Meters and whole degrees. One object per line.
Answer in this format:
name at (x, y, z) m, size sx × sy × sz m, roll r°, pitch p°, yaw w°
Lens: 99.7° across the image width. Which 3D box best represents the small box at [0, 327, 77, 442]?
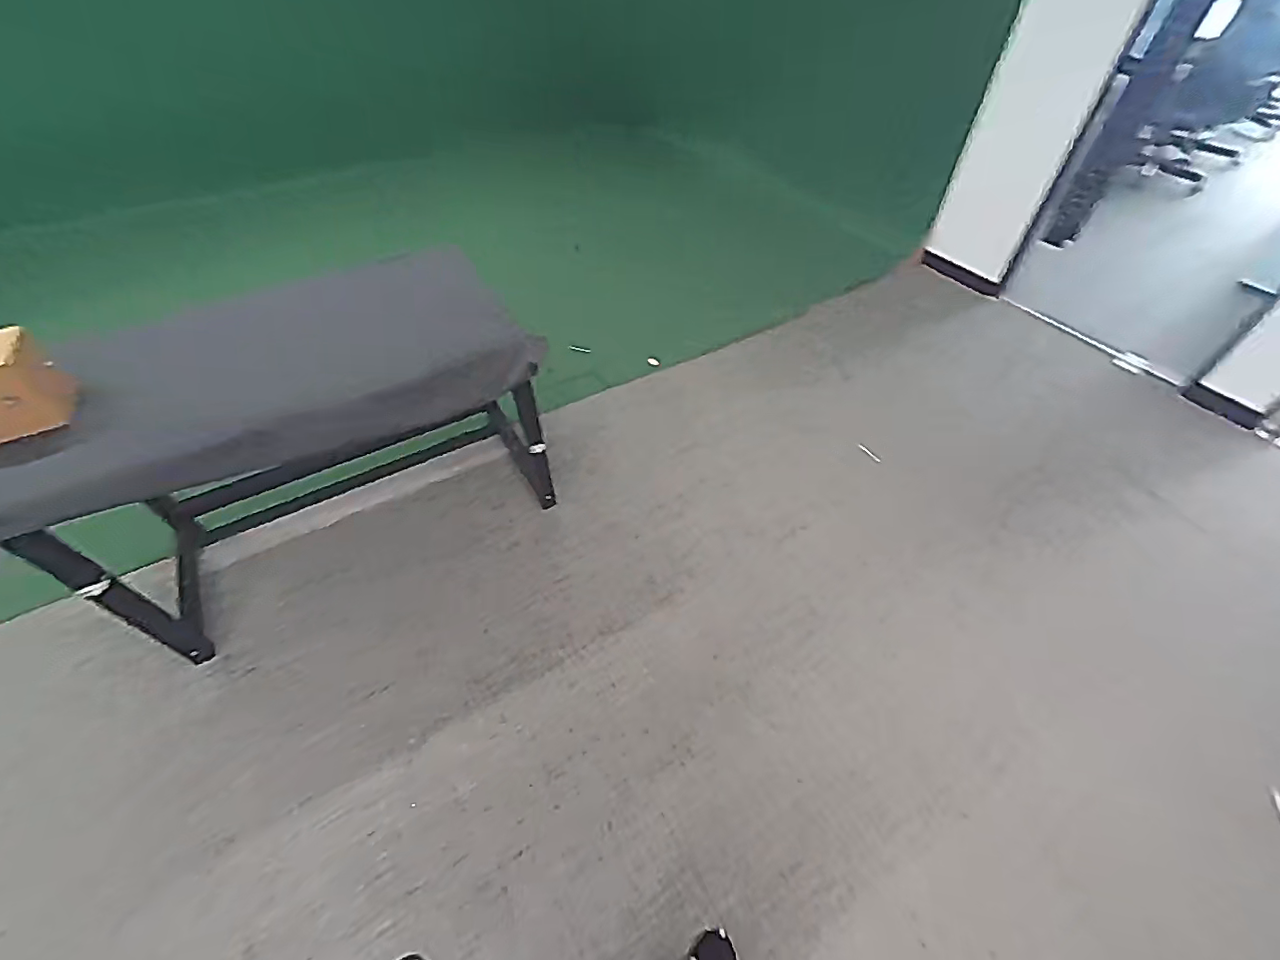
small box at (-1.388, -0.198, 1.167) m, size 0.179 × 0.176 × 0.168 m, roll -22°, pitch 50°, yaw -18°
